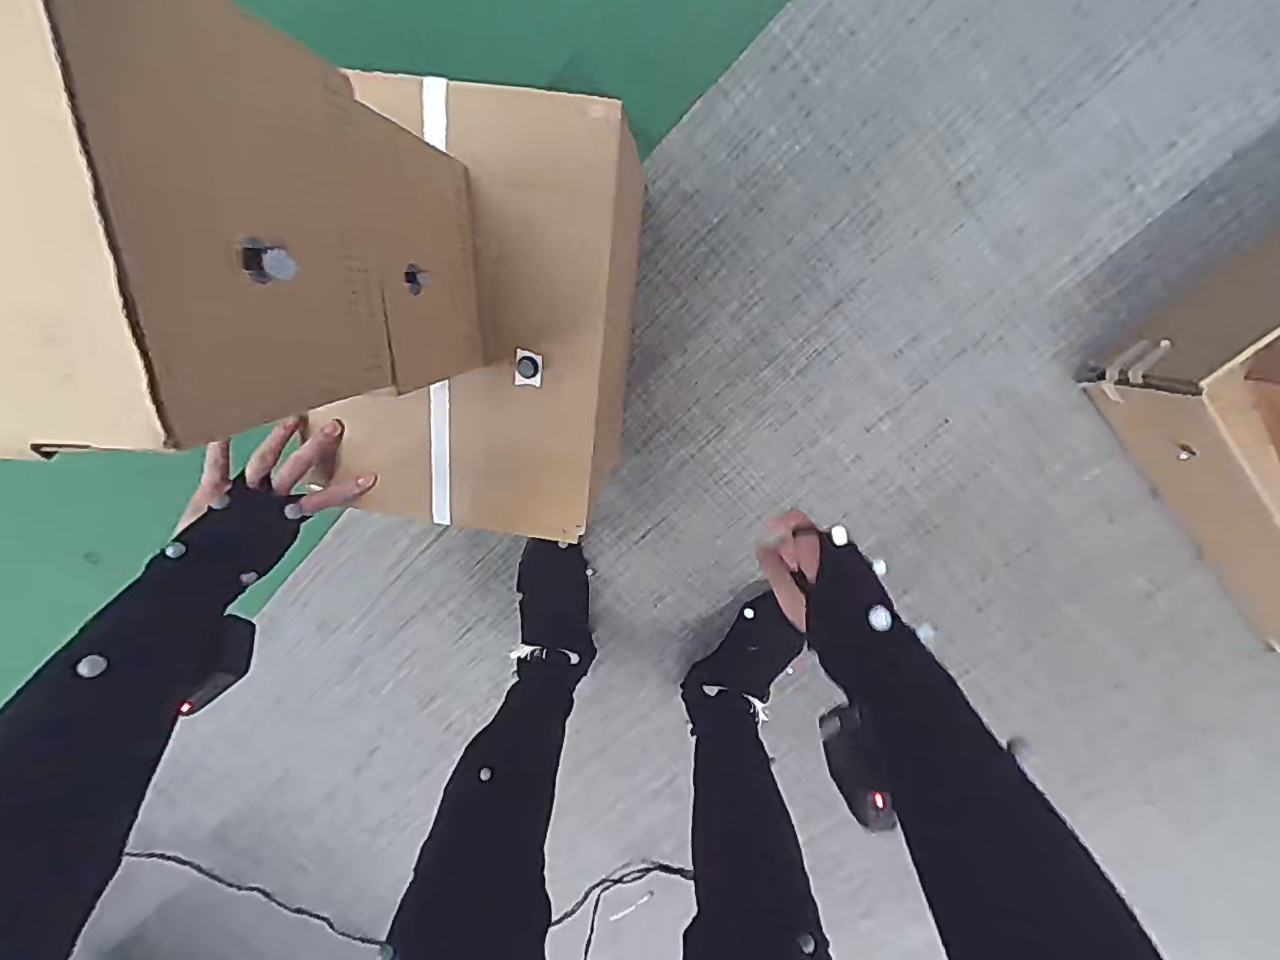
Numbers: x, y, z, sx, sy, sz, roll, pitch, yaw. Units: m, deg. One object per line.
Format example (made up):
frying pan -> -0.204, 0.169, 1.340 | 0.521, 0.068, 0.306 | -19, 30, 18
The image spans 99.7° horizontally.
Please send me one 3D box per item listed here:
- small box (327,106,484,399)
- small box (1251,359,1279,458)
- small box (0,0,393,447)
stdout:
small box -> -0.232, -0.166, 0.425 | 0.168, 0.176, 0.179 | 2, 108, 4
small box -> 0.917, -0.097, 0.640 | 0.179, 0.176, 0.168 | -37, 105, 15
small box -> -0.245, -0.125, 0.266 | 0.168, 0.176, 0.179 | 2, 109, 4
